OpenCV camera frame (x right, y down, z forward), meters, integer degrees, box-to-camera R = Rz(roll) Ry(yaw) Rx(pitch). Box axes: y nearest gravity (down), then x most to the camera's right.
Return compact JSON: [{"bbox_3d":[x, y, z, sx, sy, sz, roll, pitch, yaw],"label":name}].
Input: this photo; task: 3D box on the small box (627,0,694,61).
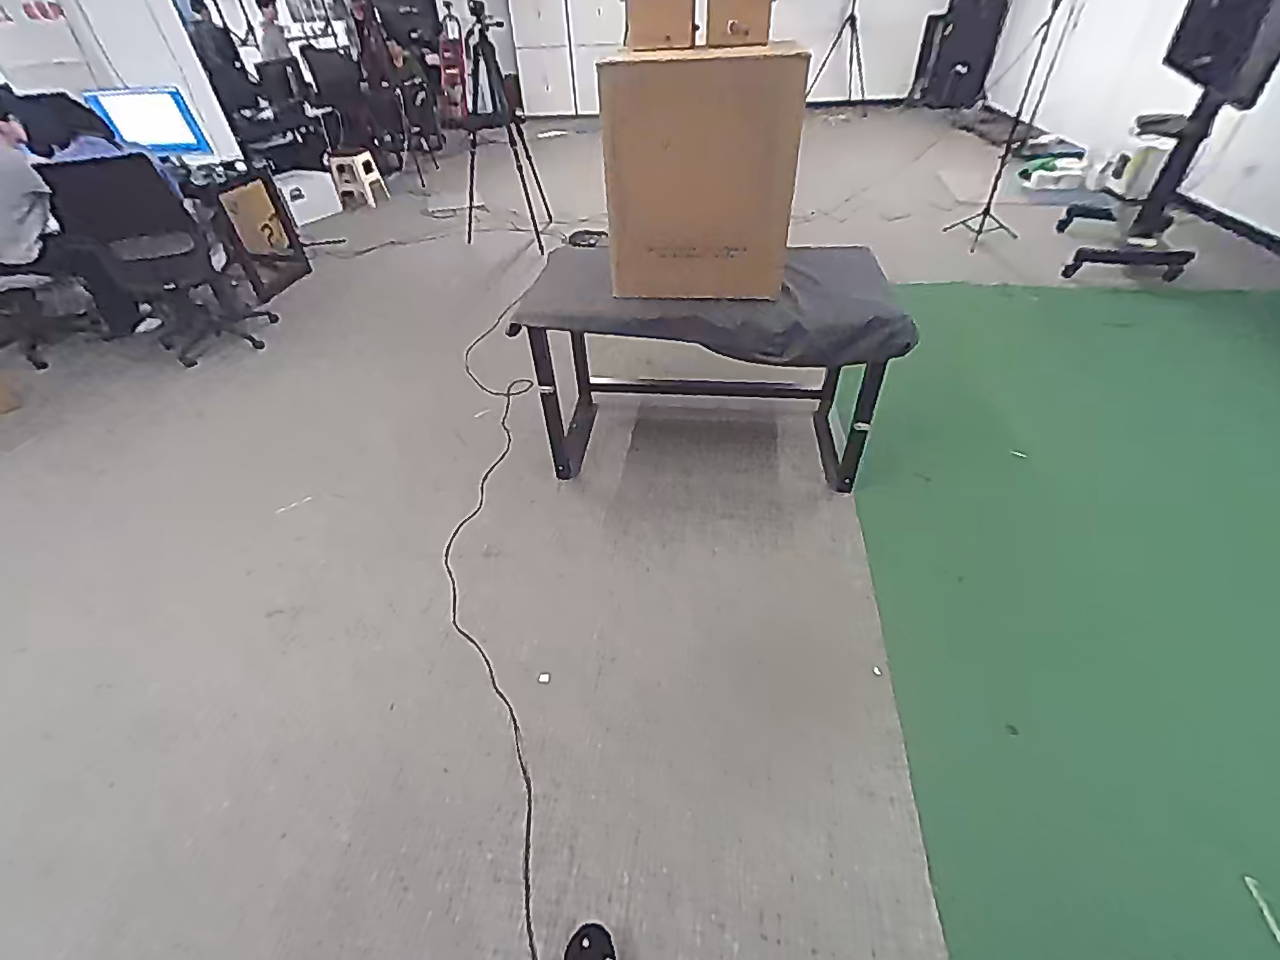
[{"bbox_3d":[0.059,-1.246,1.466,0.168,0.176,0.179,2,40,9],"label":"small box"}]
